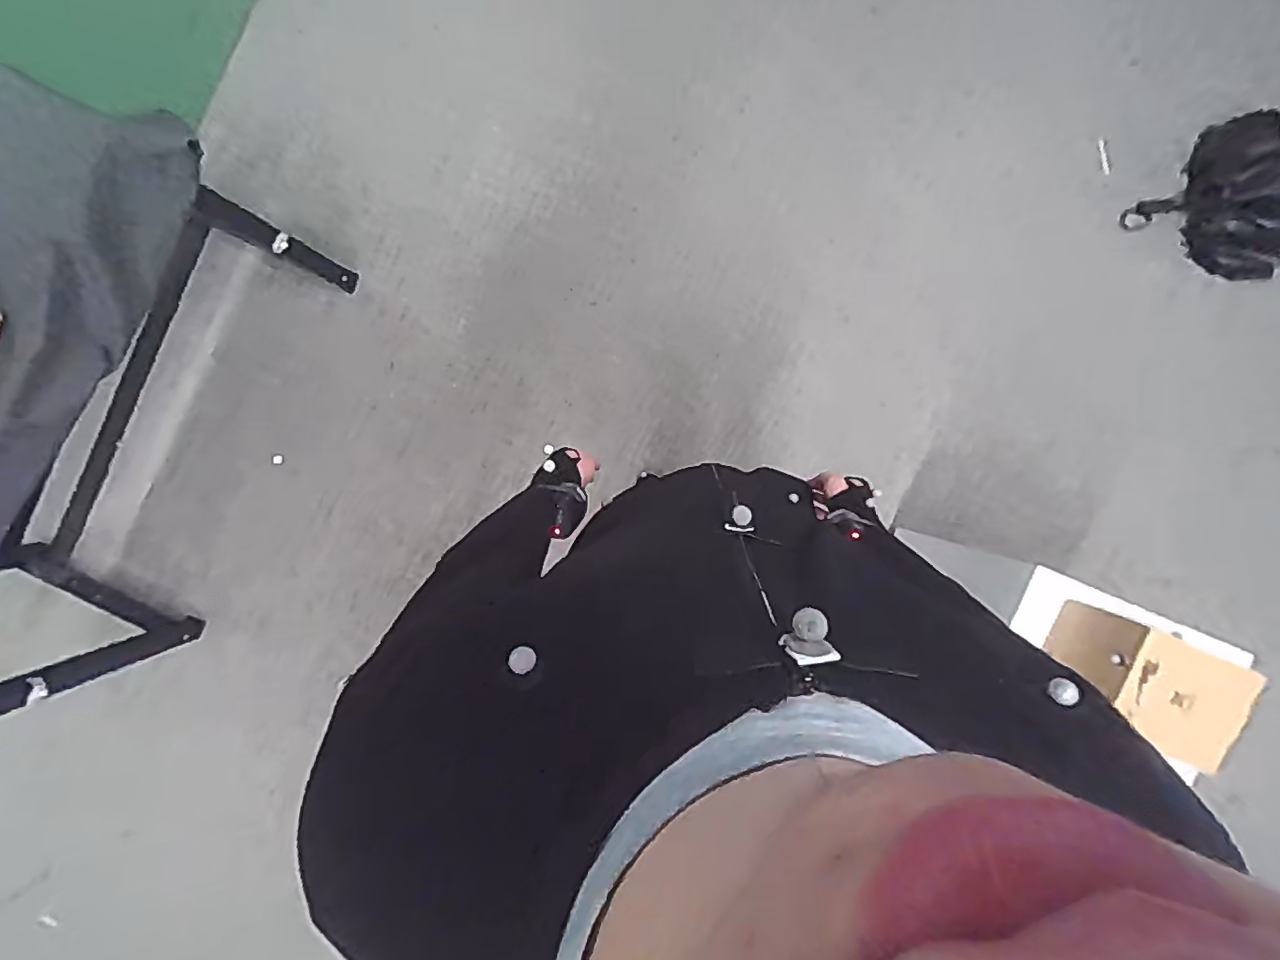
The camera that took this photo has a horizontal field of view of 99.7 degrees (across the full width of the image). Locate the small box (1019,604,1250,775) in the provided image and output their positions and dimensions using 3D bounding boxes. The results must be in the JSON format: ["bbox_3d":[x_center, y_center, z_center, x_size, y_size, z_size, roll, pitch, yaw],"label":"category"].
[{"bbox_3d":[0.766,0.317,0.859,0.179,0.176,0.168,25,94,0],"label":"small box"}]
